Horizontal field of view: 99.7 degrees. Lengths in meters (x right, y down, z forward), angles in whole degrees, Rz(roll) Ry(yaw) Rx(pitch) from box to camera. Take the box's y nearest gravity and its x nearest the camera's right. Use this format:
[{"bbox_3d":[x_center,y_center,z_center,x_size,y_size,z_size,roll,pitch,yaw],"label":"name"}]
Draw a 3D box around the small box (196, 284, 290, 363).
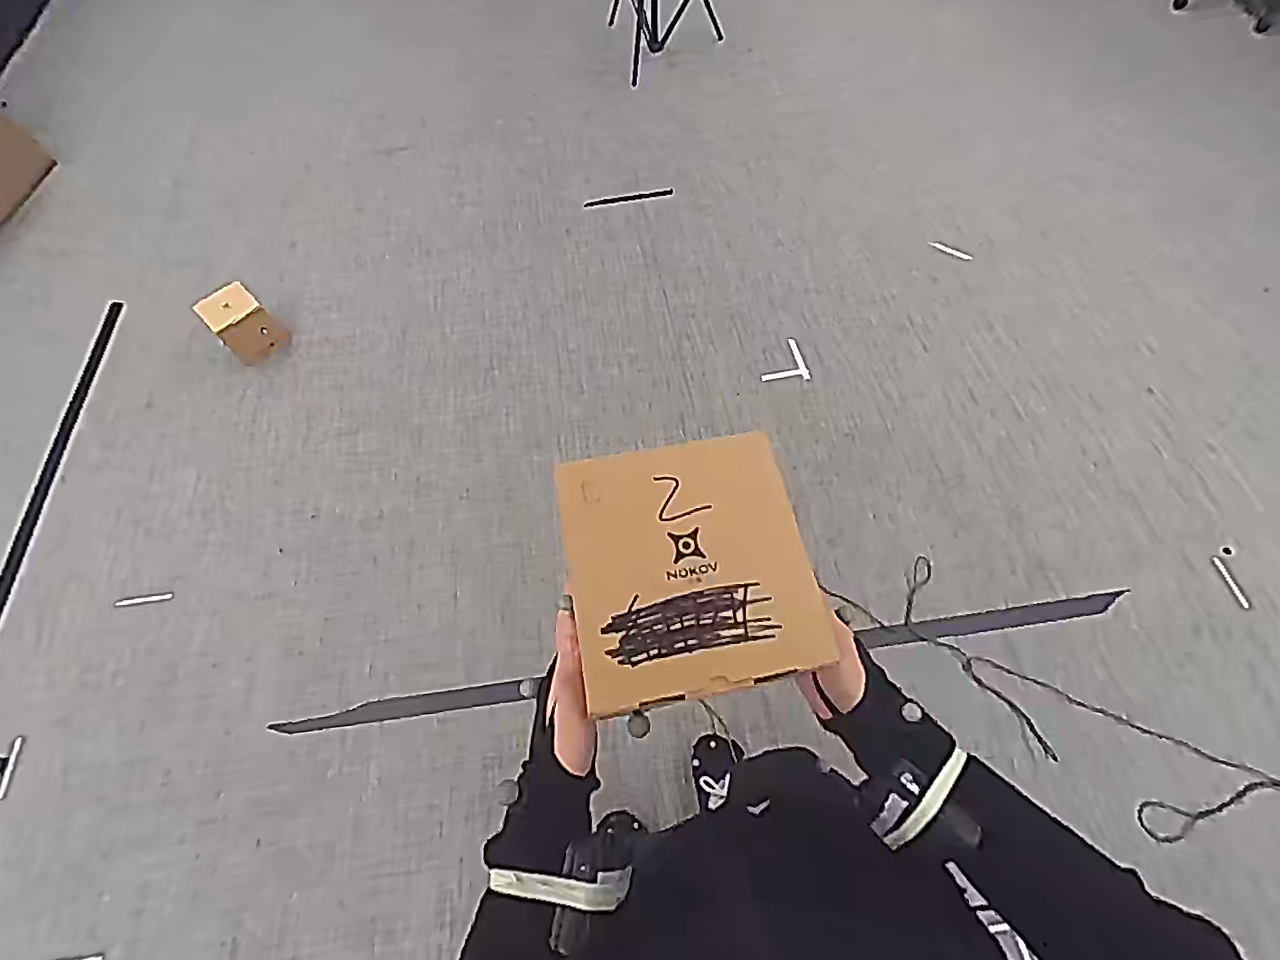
[{"bbox_3d":[-1.363,-0.533,1.869,0.179,0.176,0.168,39,70,21],"label":"small box"}]
